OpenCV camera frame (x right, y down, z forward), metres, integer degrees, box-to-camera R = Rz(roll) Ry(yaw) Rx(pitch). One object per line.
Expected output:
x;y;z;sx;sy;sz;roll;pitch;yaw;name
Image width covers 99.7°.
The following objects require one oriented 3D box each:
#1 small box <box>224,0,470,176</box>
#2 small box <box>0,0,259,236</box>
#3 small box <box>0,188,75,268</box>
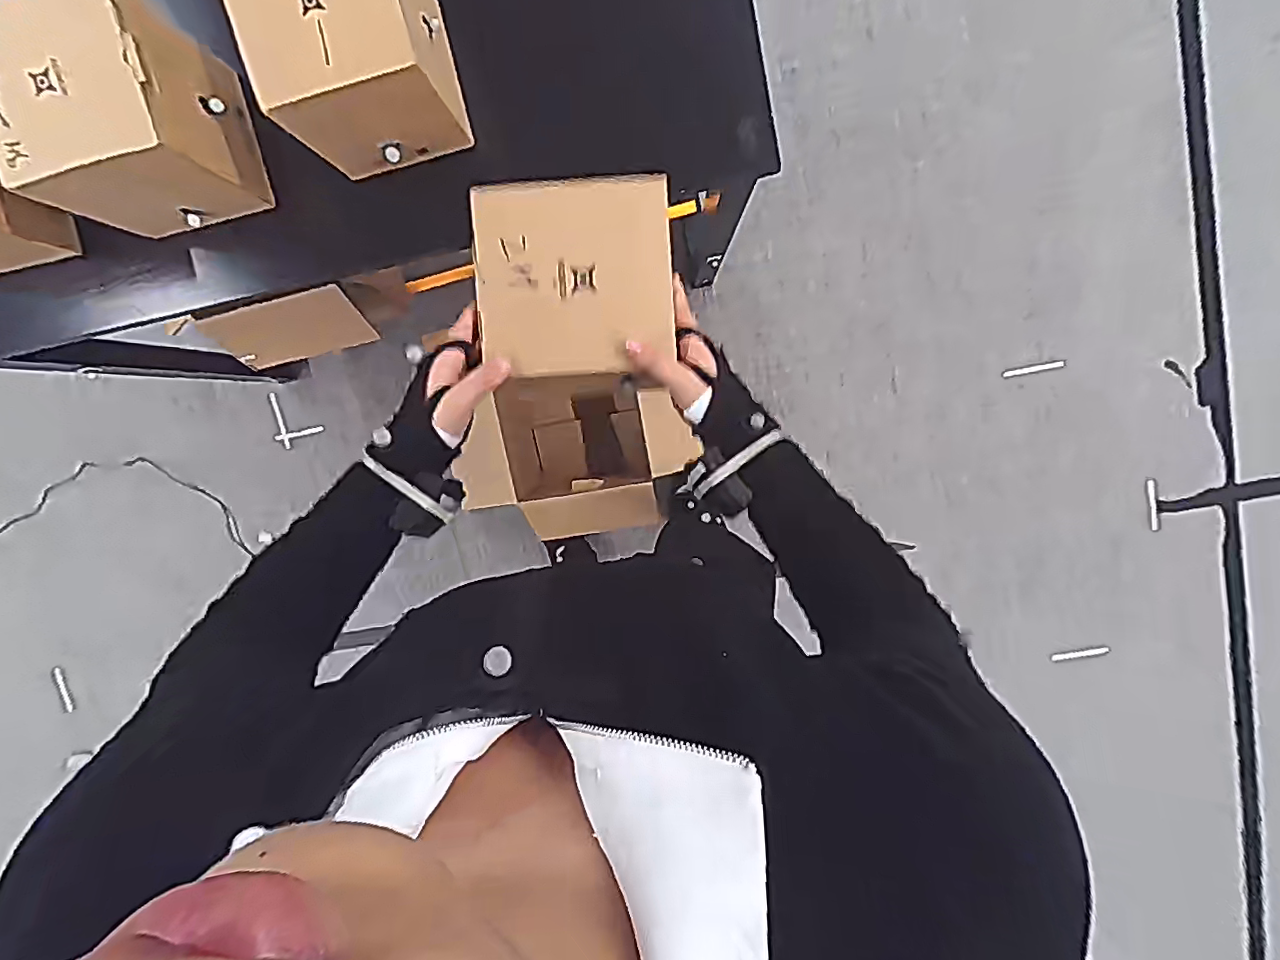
-0.306;-0.467;0.583;0.168;0.176;0.179;-13;98;3;small box
-0.568;-0.396;0.600;0.179;0.176;0.168;-14;97;2;small box
-0.826;-0.343;0.613;0.179;0.176;0.168;-10;98;2;small box
